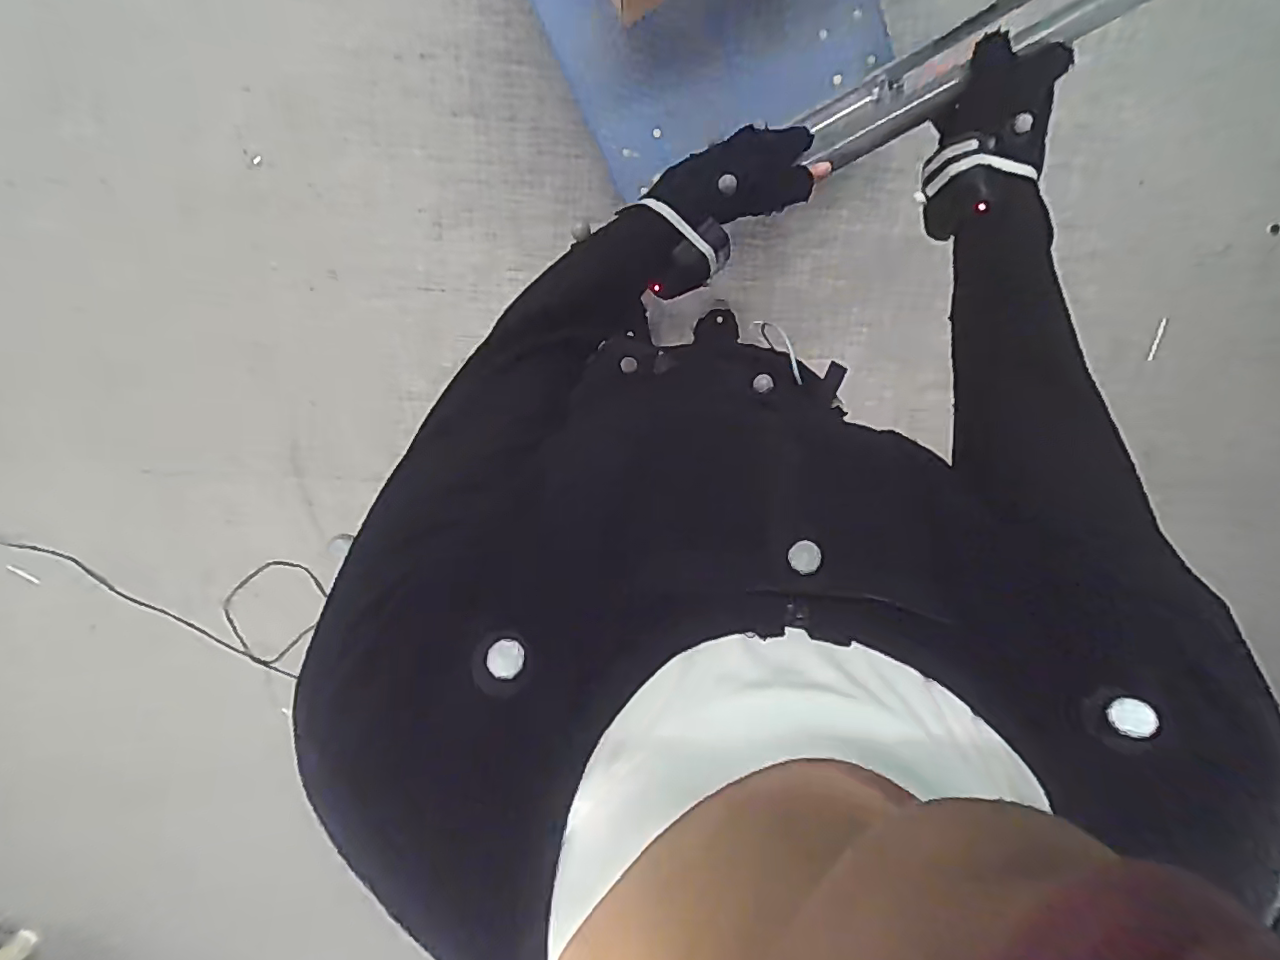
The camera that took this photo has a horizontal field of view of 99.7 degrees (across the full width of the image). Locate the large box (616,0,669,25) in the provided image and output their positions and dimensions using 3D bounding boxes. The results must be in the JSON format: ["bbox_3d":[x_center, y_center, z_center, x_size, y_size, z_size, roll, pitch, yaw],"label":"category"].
[{"bbox_3d":[0.079,-1.009,0.797,0.408,0.320,0.320,-29,109,10],"label":"large box"}]
